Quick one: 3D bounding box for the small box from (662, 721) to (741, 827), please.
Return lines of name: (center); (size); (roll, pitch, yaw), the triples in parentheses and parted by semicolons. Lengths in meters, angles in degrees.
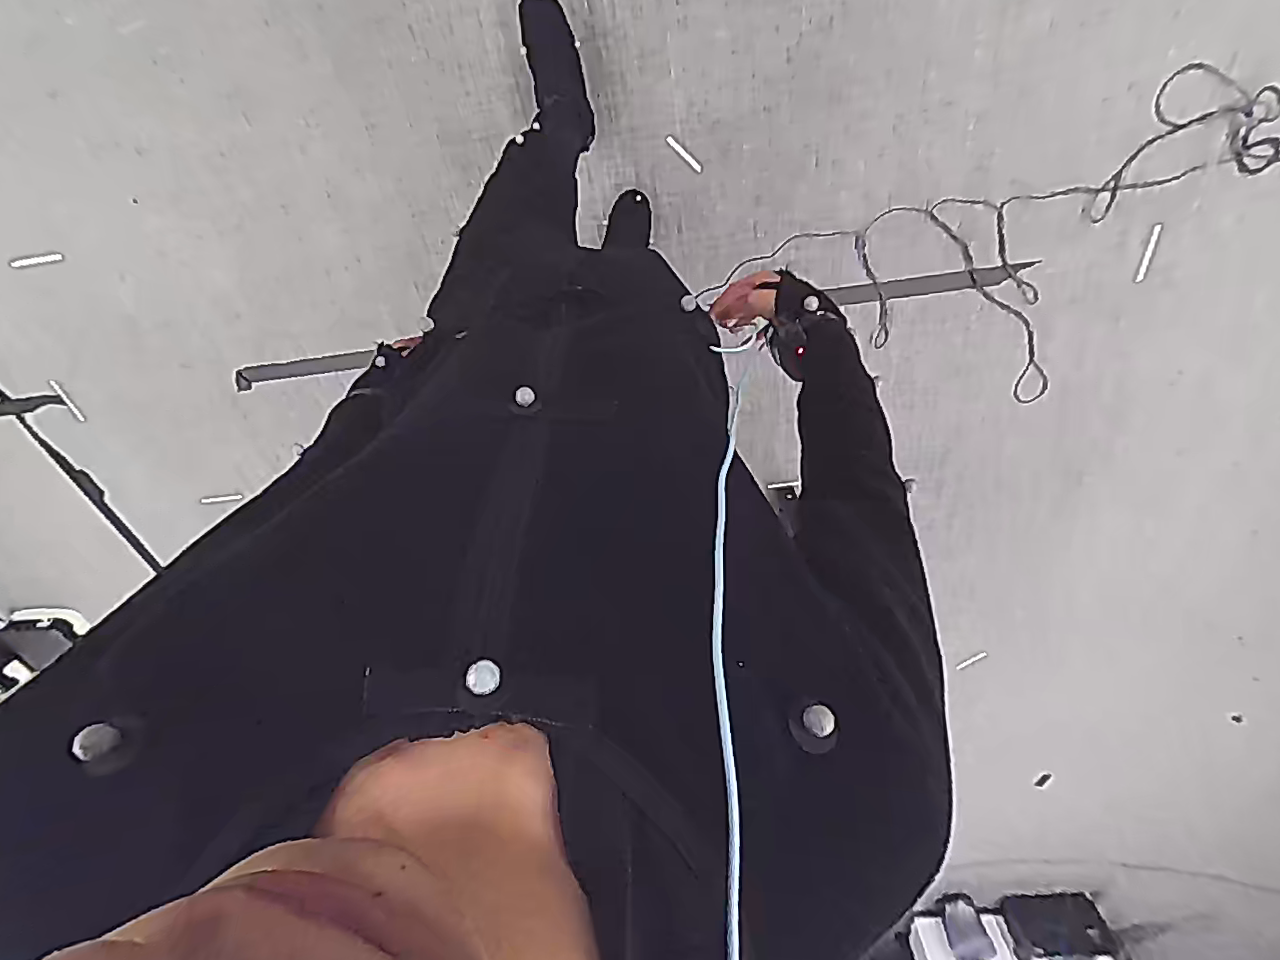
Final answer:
small box: (0.144, 0.694, 1.289); (0.168, 0.176, 0.179); (-7, 124, 7)
